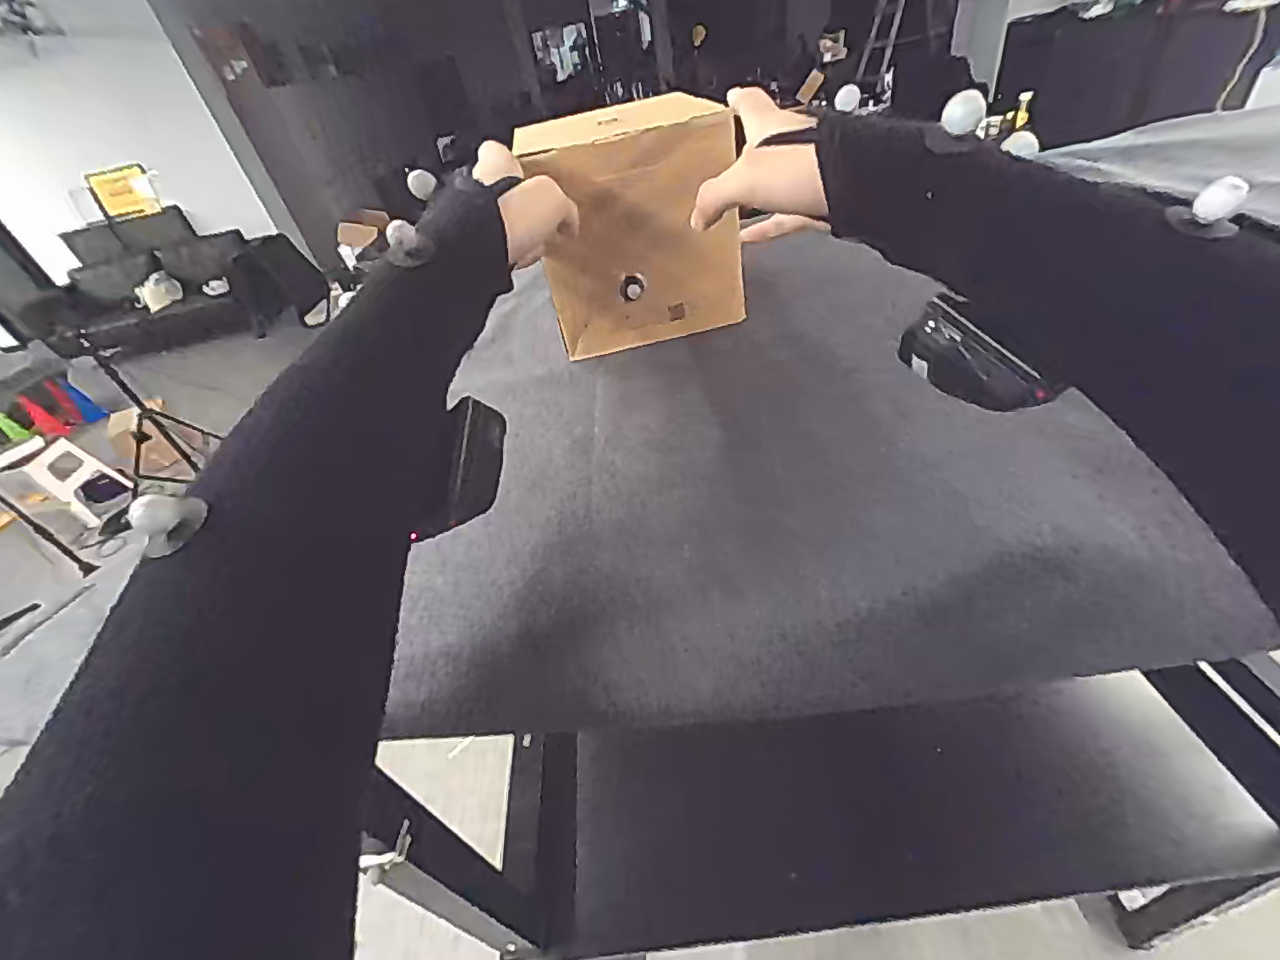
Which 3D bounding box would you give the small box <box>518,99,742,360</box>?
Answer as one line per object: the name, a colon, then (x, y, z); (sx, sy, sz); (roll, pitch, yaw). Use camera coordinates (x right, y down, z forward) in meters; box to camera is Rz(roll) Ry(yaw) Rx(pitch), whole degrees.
small box: (-0.010, -0.235, 0.505); (0.168, 0.176, 0.179); (-14, 40, -2)
